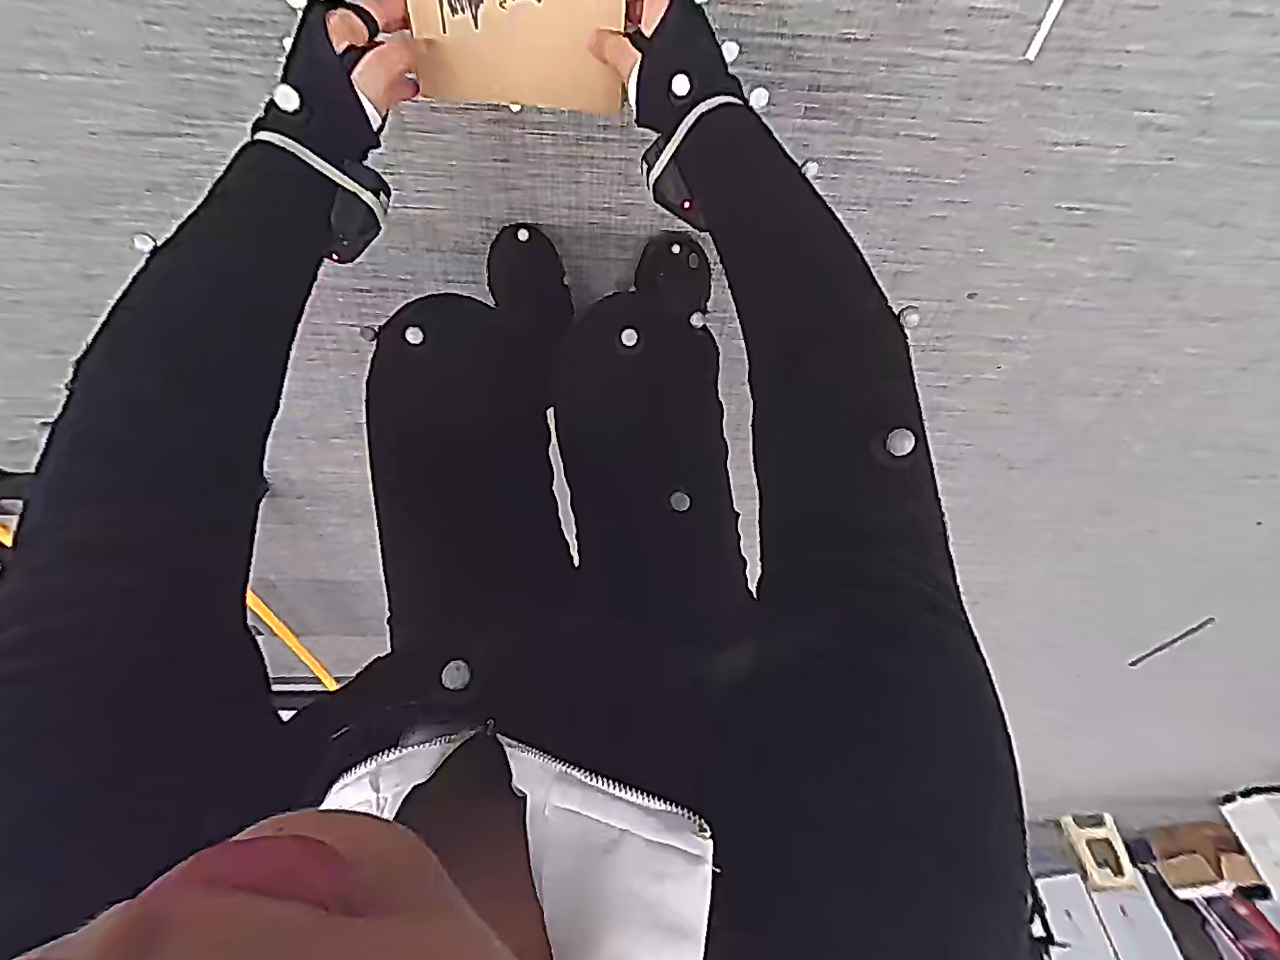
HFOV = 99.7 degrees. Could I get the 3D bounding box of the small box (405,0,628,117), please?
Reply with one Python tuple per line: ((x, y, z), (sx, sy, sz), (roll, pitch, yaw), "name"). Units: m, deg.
((-0.099, -0.441, 0.472), (0.179, 0.176, 0.168), (2, 136, -5), "small box")
